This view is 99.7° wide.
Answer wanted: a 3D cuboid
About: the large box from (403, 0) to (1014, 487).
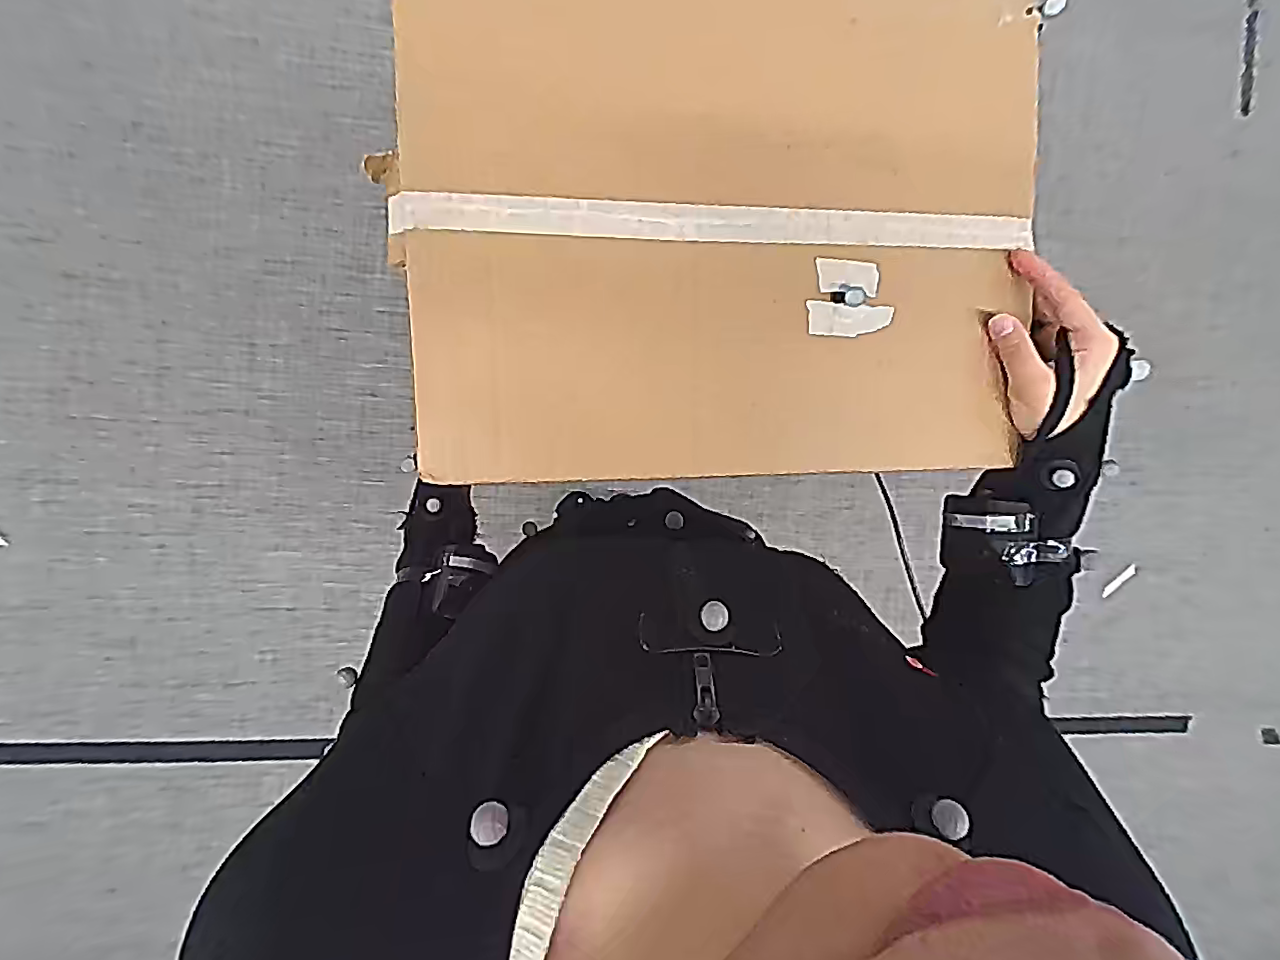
[{"bbox_3d":[0.037,-0.170,0.496,0.408,0.320,0.320,-2,96,-10],"label":"large box"}]
